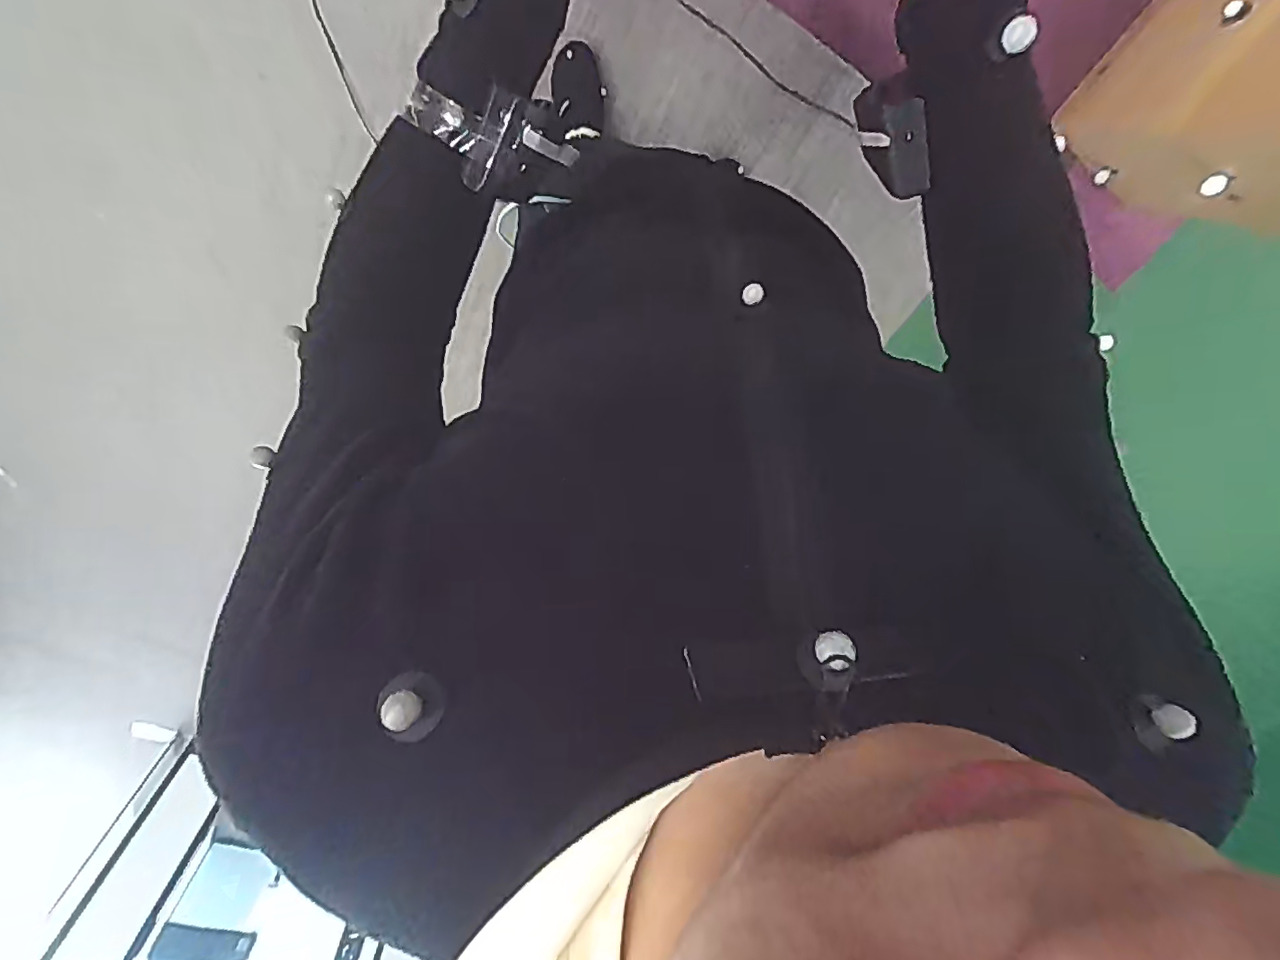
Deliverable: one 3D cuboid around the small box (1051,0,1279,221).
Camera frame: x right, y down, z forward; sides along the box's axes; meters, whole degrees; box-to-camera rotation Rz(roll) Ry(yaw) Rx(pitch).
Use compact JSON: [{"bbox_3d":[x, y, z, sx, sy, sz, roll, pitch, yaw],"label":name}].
[{"bbox_3d":[0.610,-0.418,0.582,0.179,0.176,0.168,27,120,-18],"label":"small box"}]
